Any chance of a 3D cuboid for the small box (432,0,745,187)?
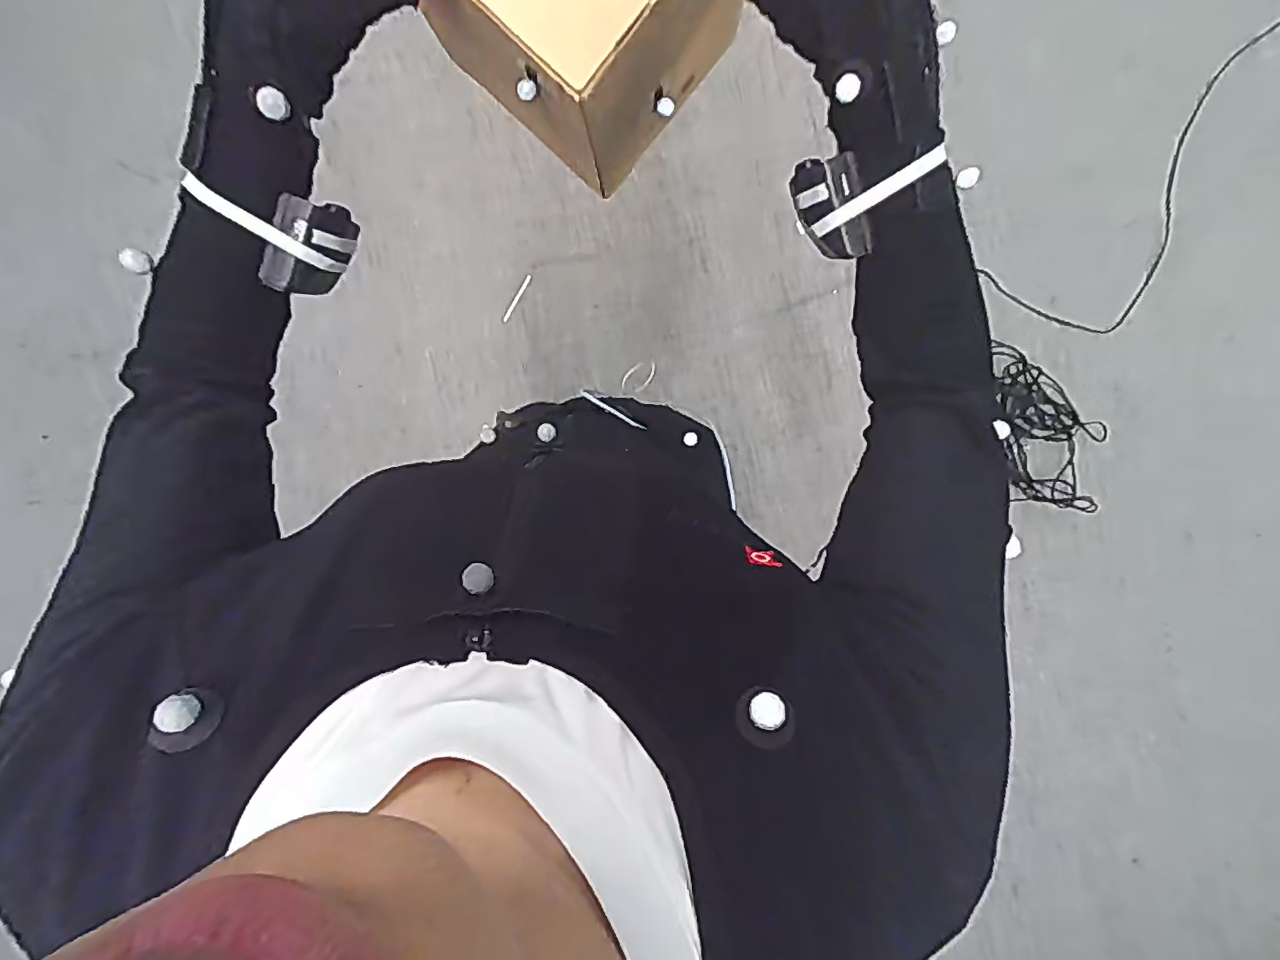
[{"bbox_3d":[-0.038,-0.347,0.374,0.179,0.176,0.168,41,97,-5],"label":"small box"}]
